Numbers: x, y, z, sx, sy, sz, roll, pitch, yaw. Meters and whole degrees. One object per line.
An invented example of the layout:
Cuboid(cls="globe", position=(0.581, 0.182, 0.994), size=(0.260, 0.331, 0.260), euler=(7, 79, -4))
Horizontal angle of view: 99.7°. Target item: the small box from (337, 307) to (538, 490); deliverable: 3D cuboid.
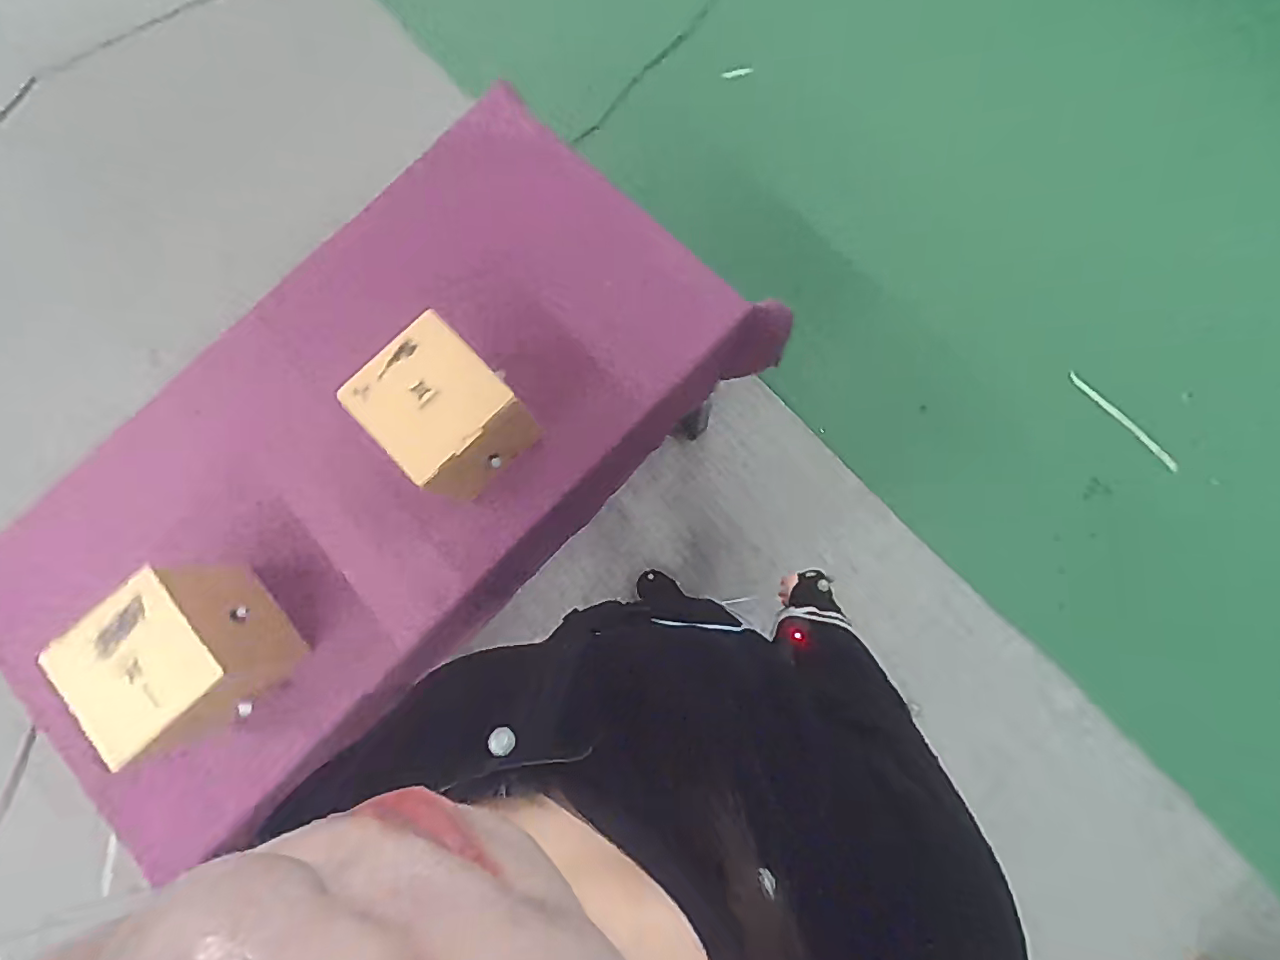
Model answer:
Cuboid(cls="small box", position=(-0.268, -0.100, 0.764), size=(0.168, 0.176, 0.179), euler=(-44, 82, -6))

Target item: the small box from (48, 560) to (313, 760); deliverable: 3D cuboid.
Cuboid(cls="small box", position=(-0.598, 0.227, 0.728), size=(0.168, 0.176, 0.179), euler=(-43, 82, -4))
